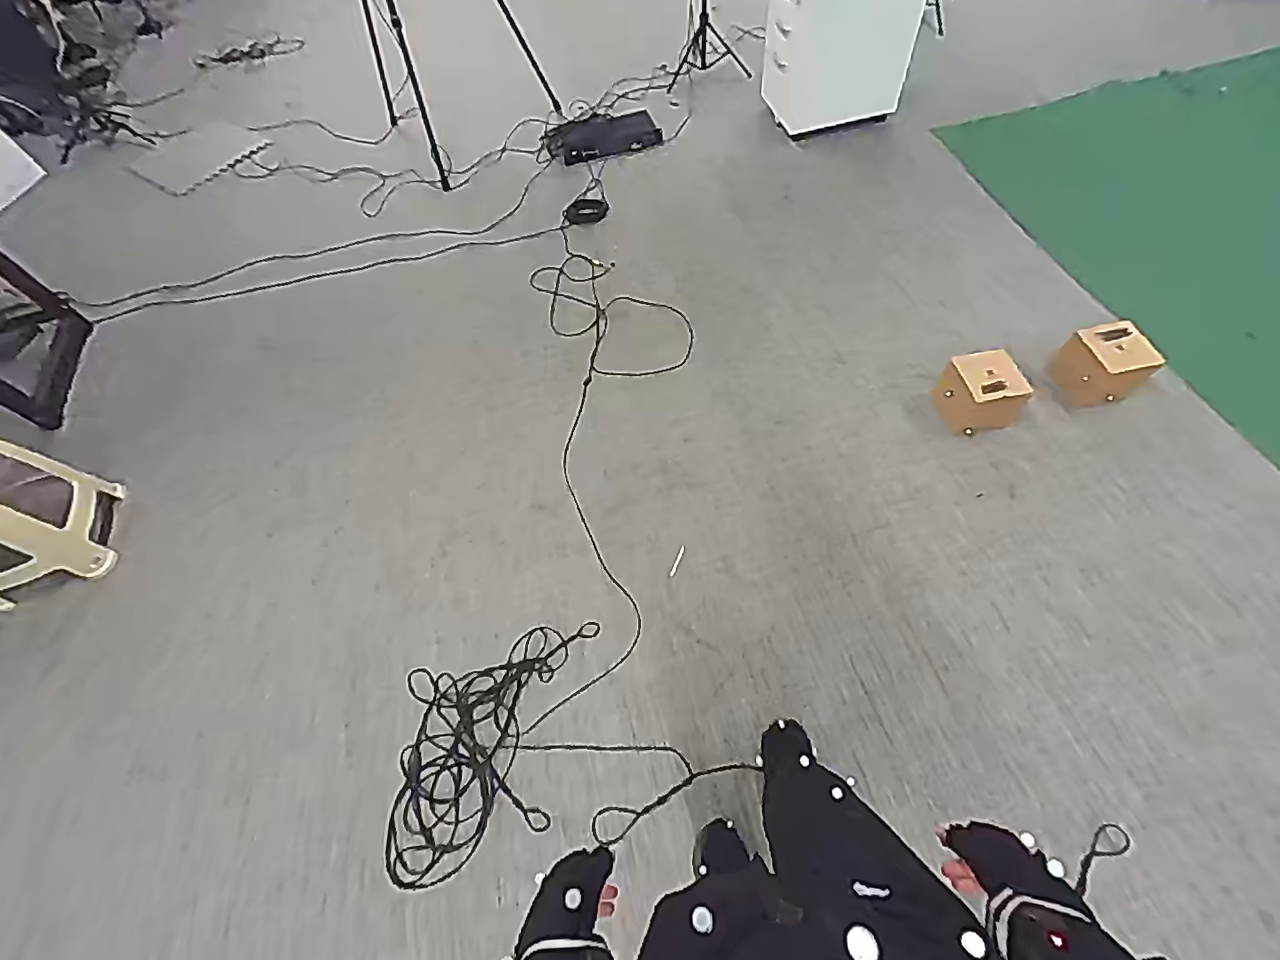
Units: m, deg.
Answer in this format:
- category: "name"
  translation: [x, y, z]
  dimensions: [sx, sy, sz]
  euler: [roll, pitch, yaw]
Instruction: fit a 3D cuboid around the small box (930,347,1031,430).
- category: "small box"
  translation: [1.005, -0.263, 1.614]
  dimensions: [0.168, 0.176, 0.179]
  euler: [-10, 58, 0]
